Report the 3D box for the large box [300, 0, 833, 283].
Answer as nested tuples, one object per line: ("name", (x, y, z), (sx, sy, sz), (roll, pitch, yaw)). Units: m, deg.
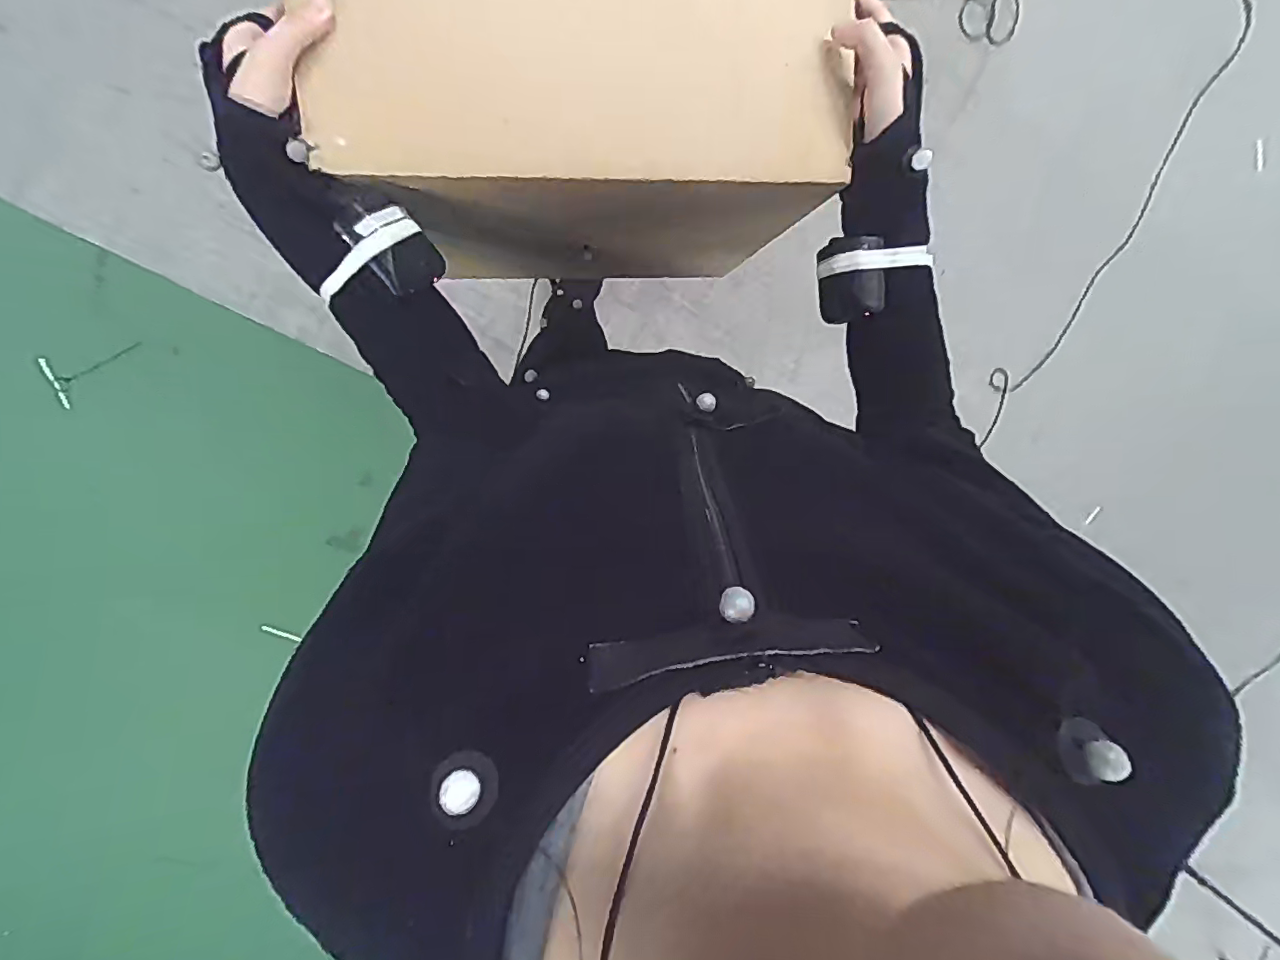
("large box", (-0.067, -0.394, 0.546), (0.408, 0.320, 0.320), (-5, 97, -10))
